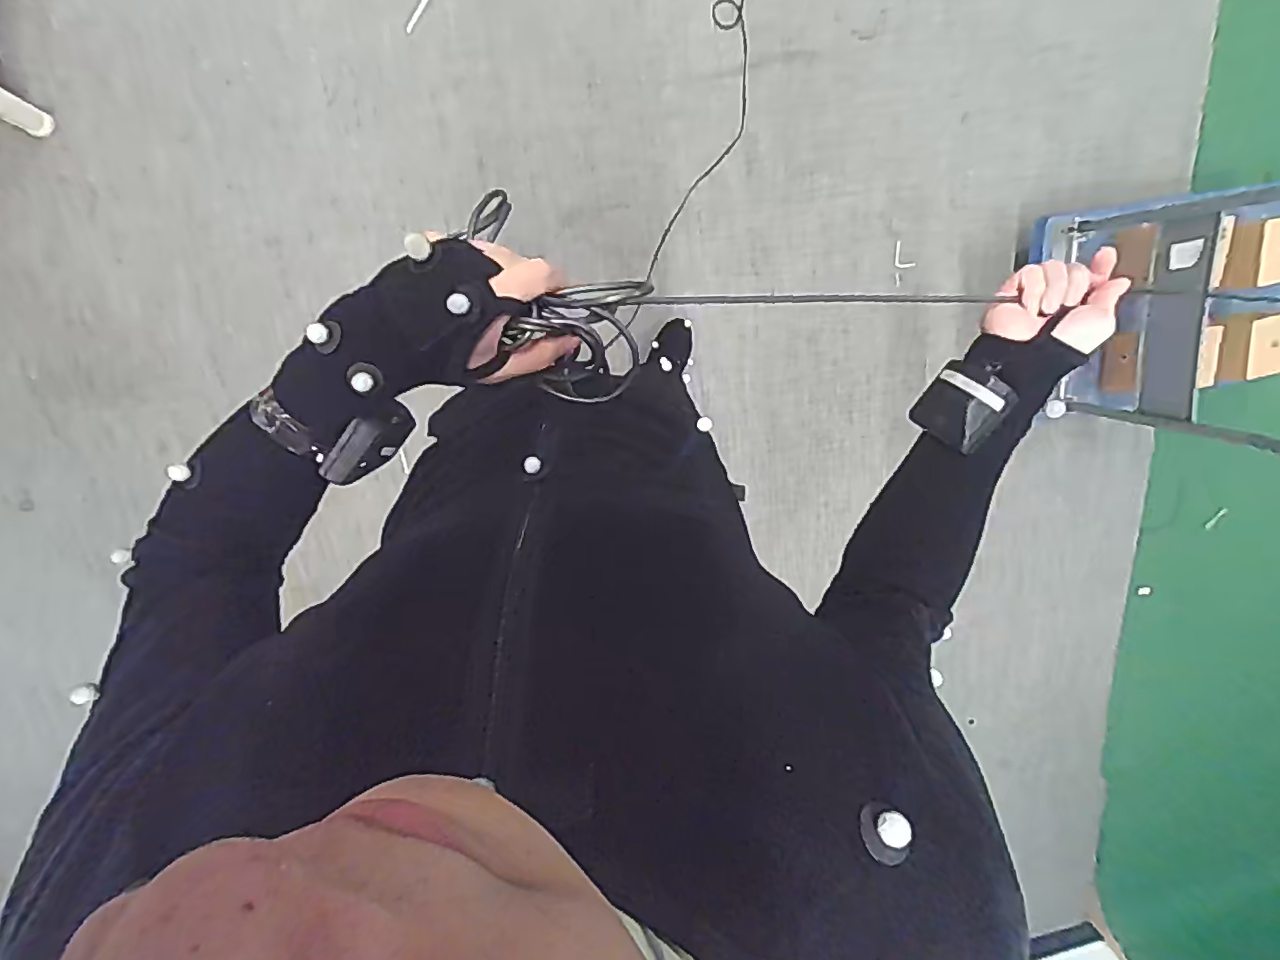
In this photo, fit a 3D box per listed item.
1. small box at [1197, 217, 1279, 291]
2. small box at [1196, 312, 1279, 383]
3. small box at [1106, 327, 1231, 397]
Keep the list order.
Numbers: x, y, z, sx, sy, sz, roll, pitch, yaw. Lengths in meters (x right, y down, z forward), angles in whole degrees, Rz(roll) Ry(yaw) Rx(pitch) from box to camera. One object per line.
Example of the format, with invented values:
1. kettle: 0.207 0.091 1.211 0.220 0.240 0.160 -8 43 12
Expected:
1. small box: 1.685 -0.618 1.471 0.179 0.176 0.168 -14 108 -5
2. small box: 1.739 -0.383 1.543 0.179 0.176 0.168 -14 106 -4
3. small box: 1.474 -0.336 1.518 0.179 0.176 0.168 -9 107 -5
